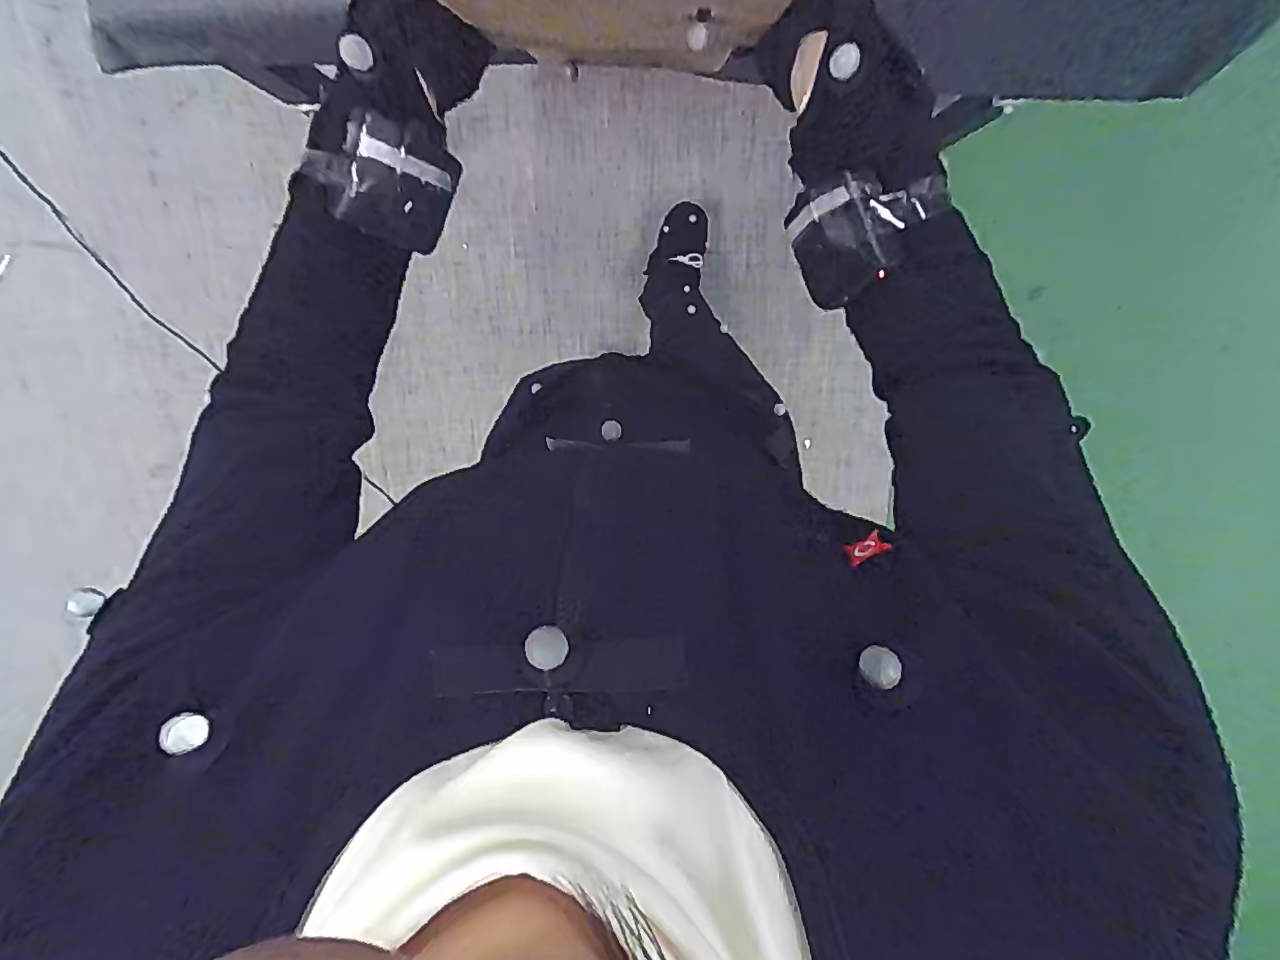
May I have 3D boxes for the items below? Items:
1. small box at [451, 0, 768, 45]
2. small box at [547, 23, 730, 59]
[{"bbox_3d":[-0.010,-0.318,0.241,0.179,0.176,0.168,-4,120,3],"label":"small box"},{"bbox_3d":[-0.008,-0.423,0.386,0.168,0.176,0.179,2,119,0],"label":"small box"}]
